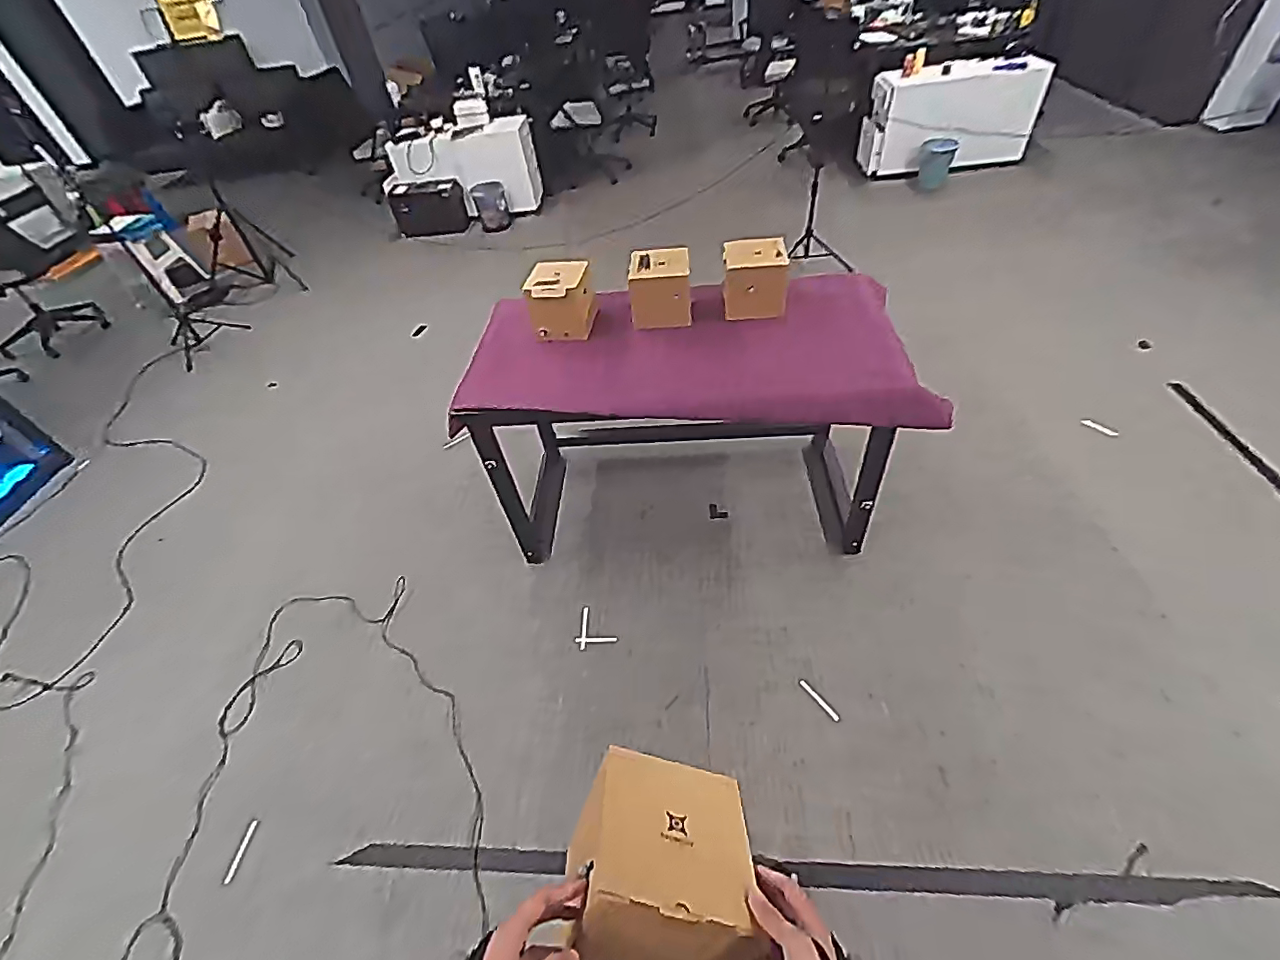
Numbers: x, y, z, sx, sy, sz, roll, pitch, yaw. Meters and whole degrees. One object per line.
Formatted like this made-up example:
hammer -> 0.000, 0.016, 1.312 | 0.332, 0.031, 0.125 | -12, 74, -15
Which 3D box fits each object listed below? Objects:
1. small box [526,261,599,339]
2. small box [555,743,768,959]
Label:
small box -> -0.227, -0.544, 1.644 | 0.168, 0.176, 0.179 | 2, 48, 10
small box -> 0.014, 0.434, 0.586 | 0.168, 0.176, 0.179 | 17, 17, -6
